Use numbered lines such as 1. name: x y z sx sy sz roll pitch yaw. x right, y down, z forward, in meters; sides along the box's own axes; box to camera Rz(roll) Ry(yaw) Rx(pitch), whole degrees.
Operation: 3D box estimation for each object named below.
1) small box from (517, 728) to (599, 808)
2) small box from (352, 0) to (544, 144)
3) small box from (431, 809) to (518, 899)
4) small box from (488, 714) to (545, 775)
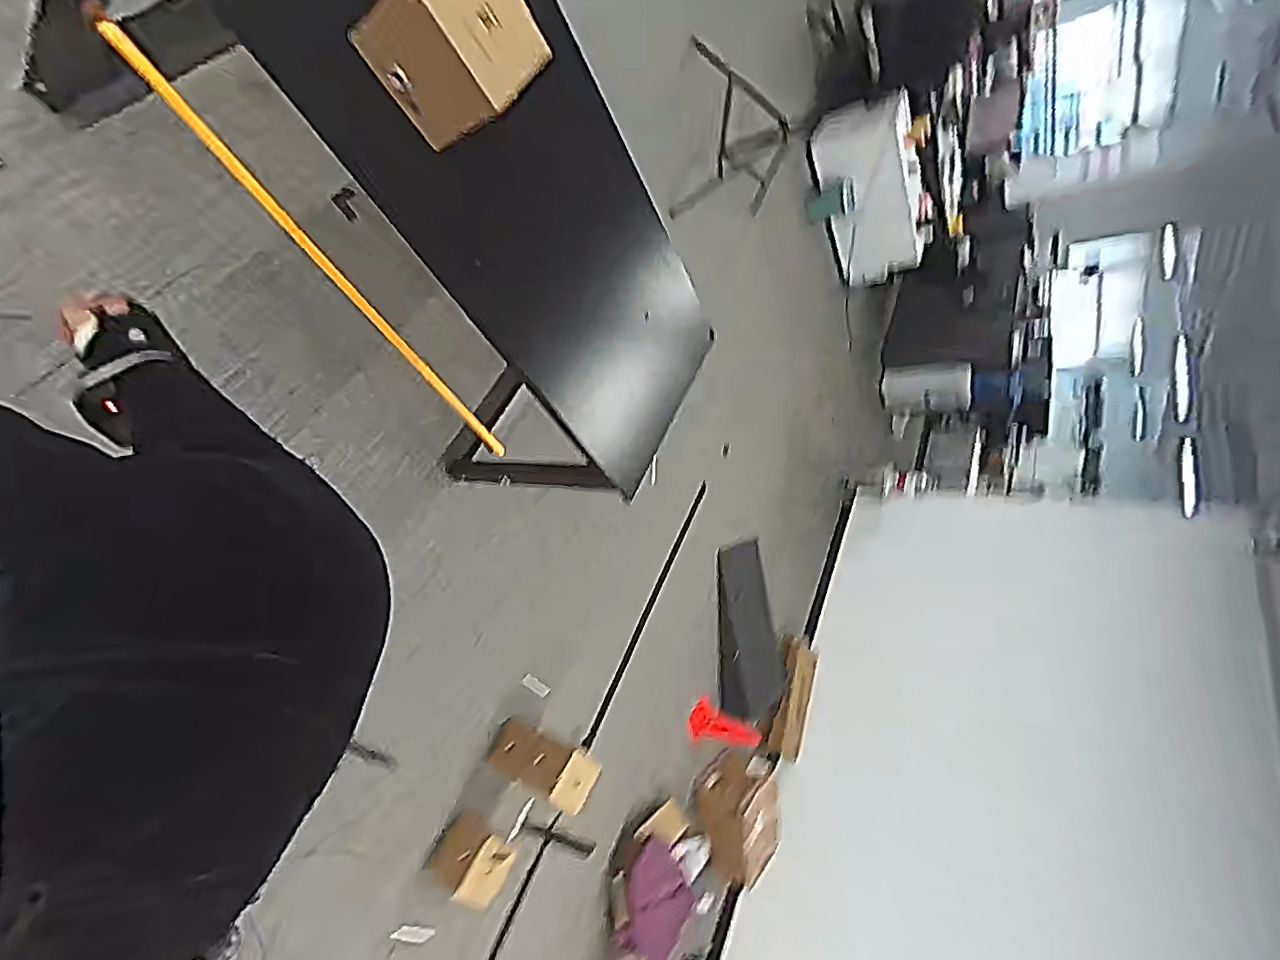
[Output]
1. small box: -0.275 0.965 1.824 0.168 0.176 0.179 -59 134 -32
2. small box: -0.281 -0.642 0.794 0.168 0.176 0.179 46 58 -42
3. small box: -0.545 1.218 1.770 0.179 0.176 0.168 -59 134 -29
4. small box: -0.406 0.955 1.925 0.179 0.176 0.168 52 53 -39
